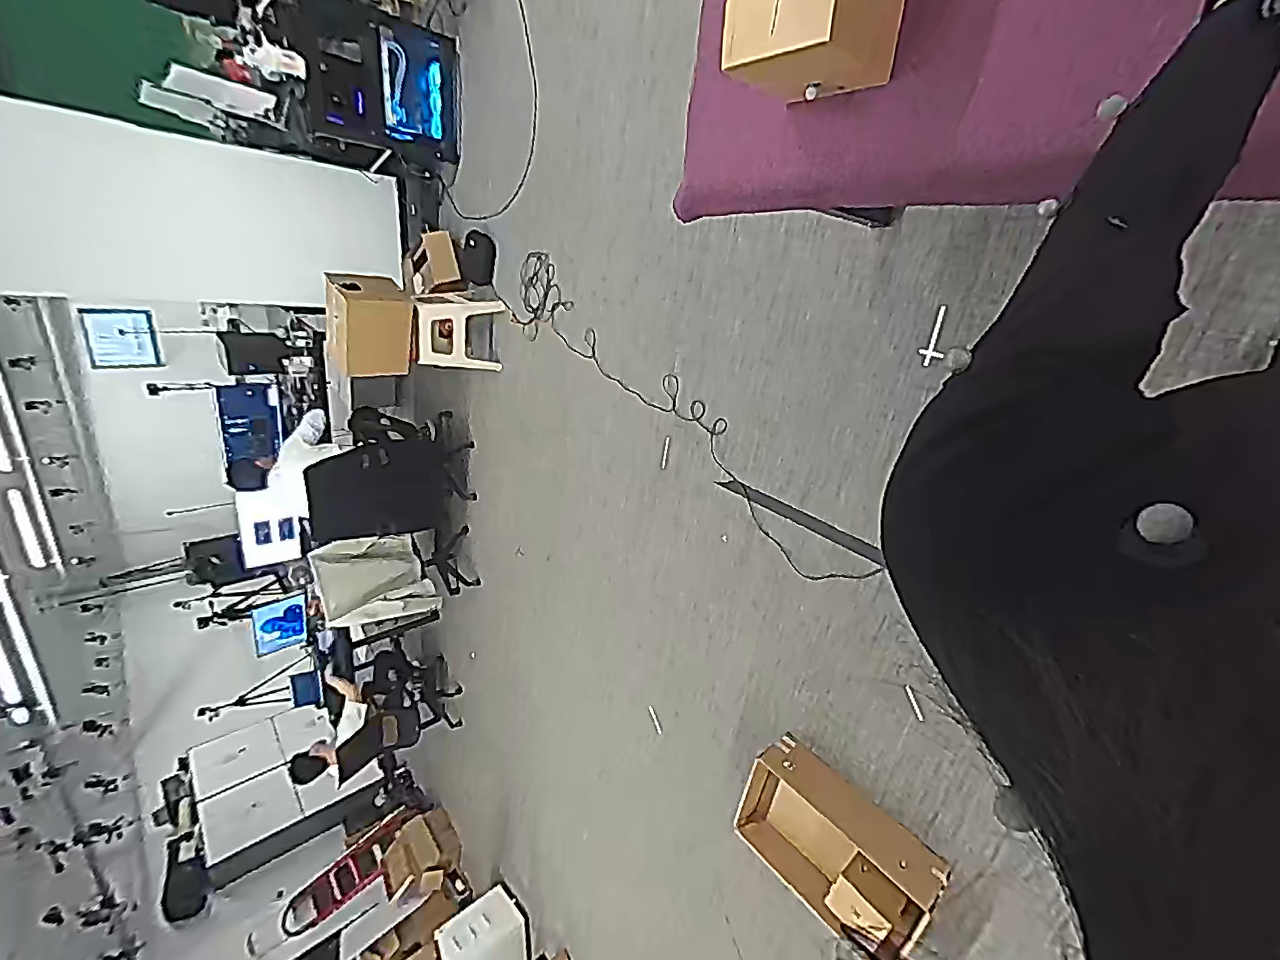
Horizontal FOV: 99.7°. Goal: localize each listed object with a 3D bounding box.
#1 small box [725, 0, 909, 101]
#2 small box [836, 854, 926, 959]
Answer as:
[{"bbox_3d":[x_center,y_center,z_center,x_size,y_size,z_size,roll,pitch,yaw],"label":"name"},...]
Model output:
[{"bbox_3d":[0.236,-0.629,0.702,0.168,0.176,0.179,24,118,43],"label":"small box"},{"bbox_3d":[0.755,1.322,1.693,0.179,0.176,0.168,34,124,39],"label":"small box"}]
